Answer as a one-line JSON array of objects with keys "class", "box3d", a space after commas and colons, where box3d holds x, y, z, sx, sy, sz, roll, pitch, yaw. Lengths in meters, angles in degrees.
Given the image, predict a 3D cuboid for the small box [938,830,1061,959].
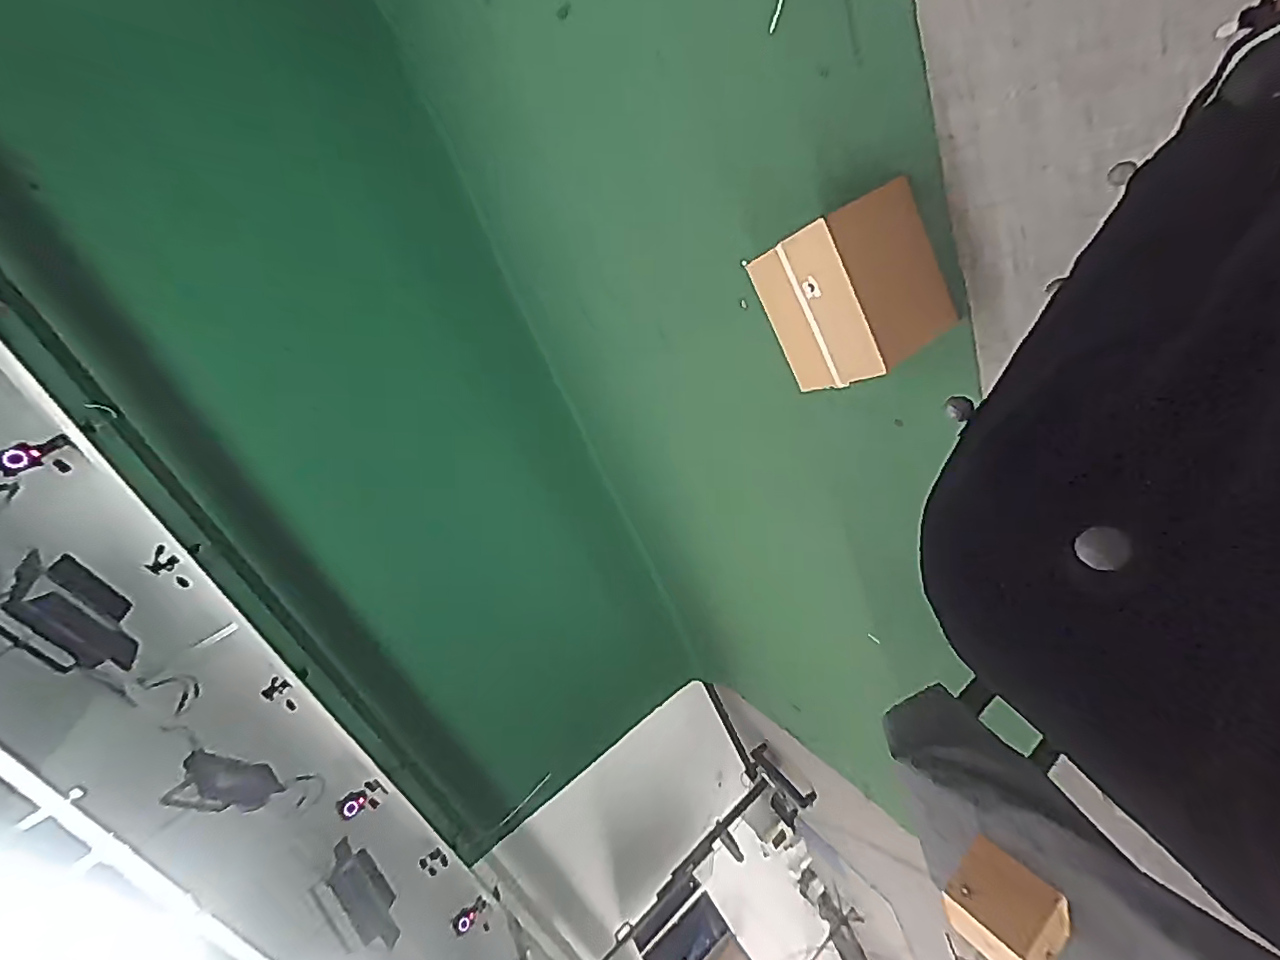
[{"class": "small box", "box3d": [0.807, 0.942, 1.208, 0.179, 0.176, 0.168, 22, 141, 58]}]
